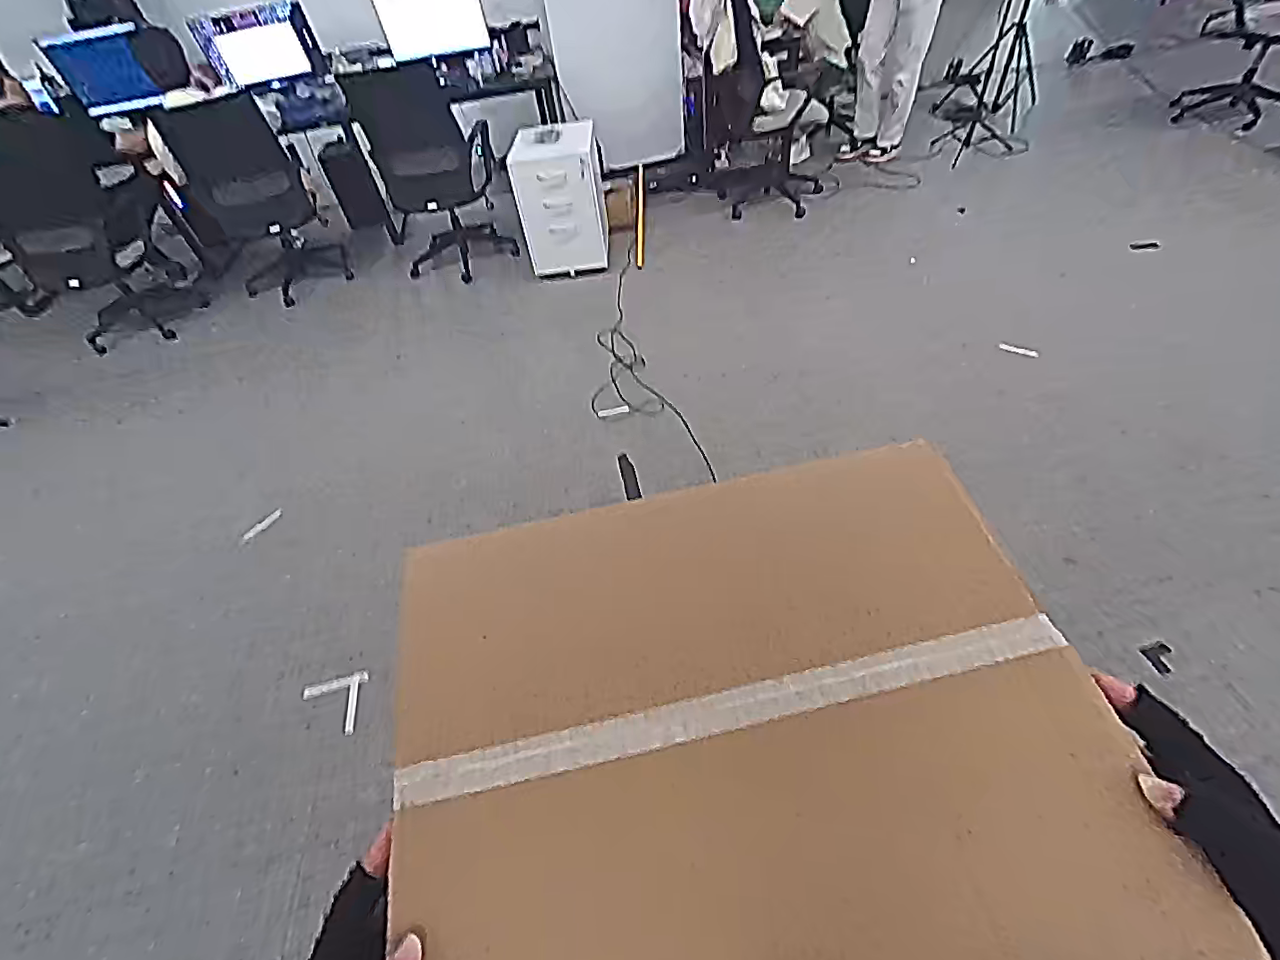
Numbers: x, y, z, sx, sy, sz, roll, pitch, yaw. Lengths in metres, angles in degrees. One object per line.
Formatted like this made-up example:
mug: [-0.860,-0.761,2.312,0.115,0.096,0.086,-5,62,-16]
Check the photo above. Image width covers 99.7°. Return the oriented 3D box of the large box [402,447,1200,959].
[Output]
large box: [0.067,0.220,0.458,0.408,0.320,0.320,-13,56,-2]
